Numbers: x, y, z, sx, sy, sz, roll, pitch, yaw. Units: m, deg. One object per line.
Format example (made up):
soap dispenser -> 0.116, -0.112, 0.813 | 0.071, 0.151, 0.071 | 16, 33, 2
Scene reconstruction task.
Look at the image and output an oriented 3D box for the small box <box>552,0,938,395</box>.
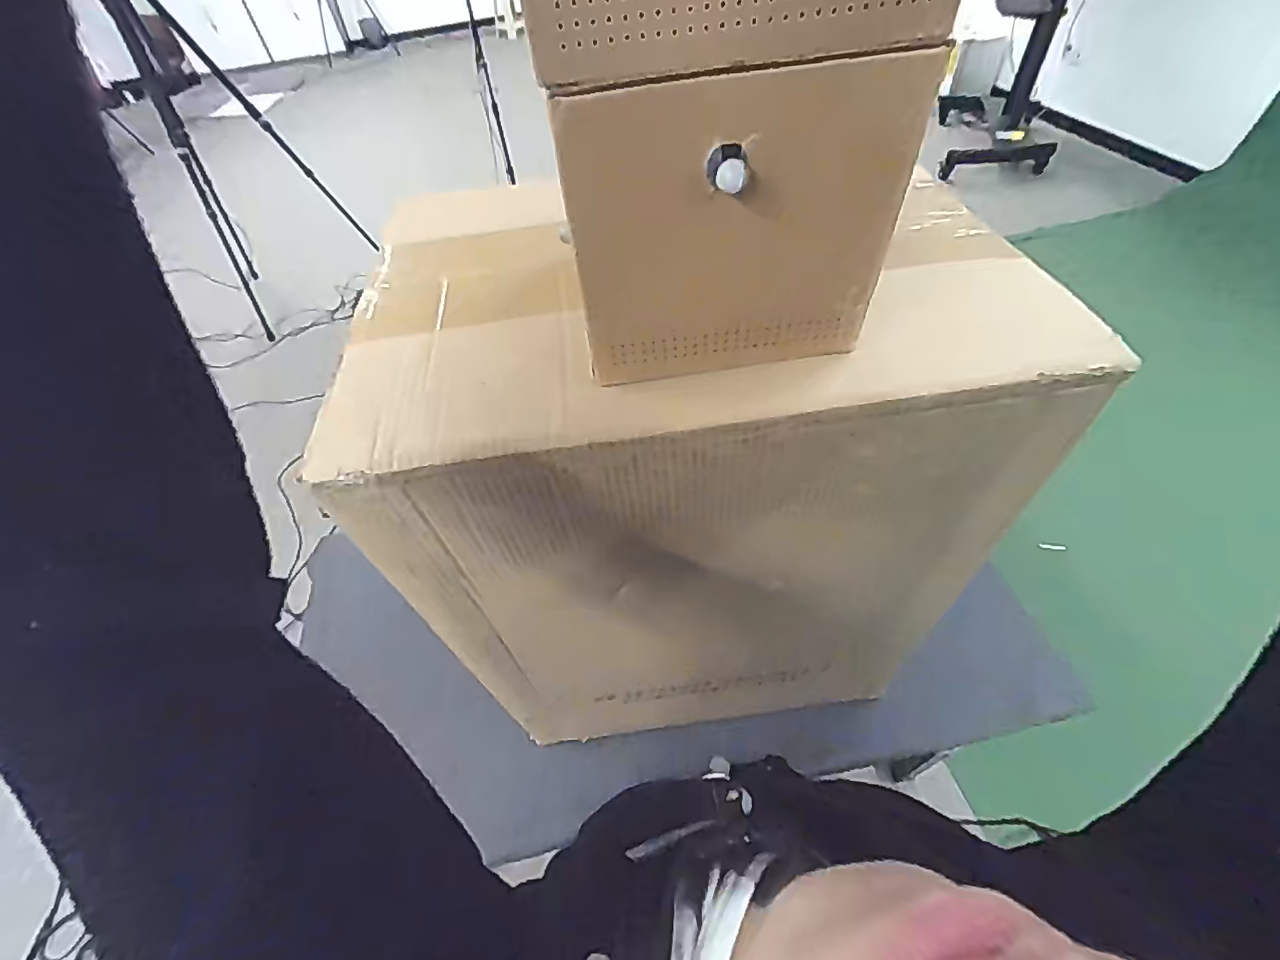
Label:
small box -> 0.045, -0.177, 0.349 | 0.179, 0.176, 0.168 | -8, 52, 0
